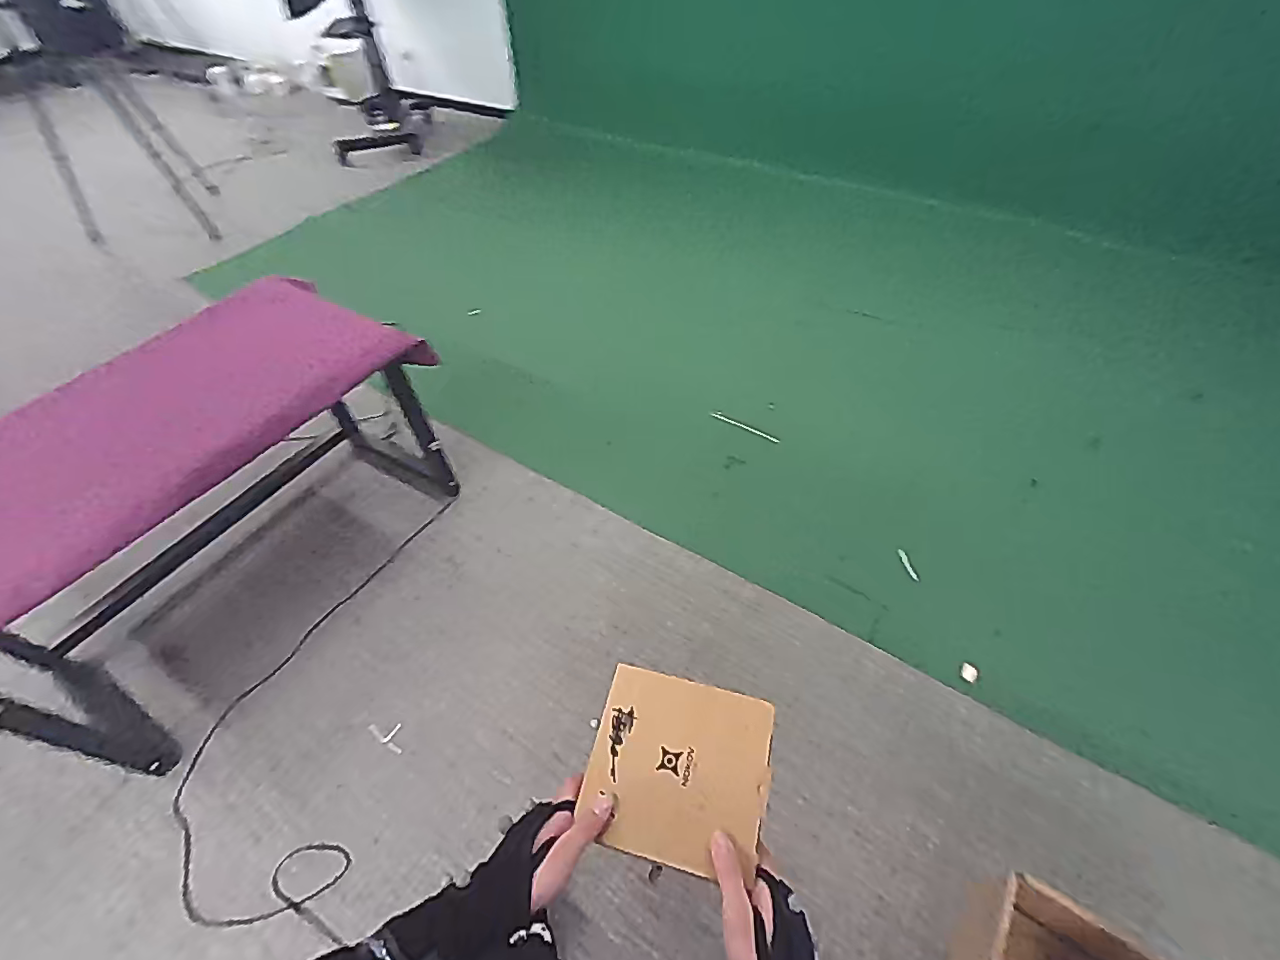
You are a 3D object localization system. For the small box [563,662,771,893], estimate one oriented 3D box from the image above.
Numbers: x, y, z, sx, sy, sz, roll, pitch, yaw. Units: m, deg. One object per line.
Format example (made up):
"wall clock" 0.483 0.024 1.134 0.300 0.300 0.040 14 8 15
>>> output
"small box" 0.033 0.325 0.593 0.179 0.176 0.168 12 54 9
